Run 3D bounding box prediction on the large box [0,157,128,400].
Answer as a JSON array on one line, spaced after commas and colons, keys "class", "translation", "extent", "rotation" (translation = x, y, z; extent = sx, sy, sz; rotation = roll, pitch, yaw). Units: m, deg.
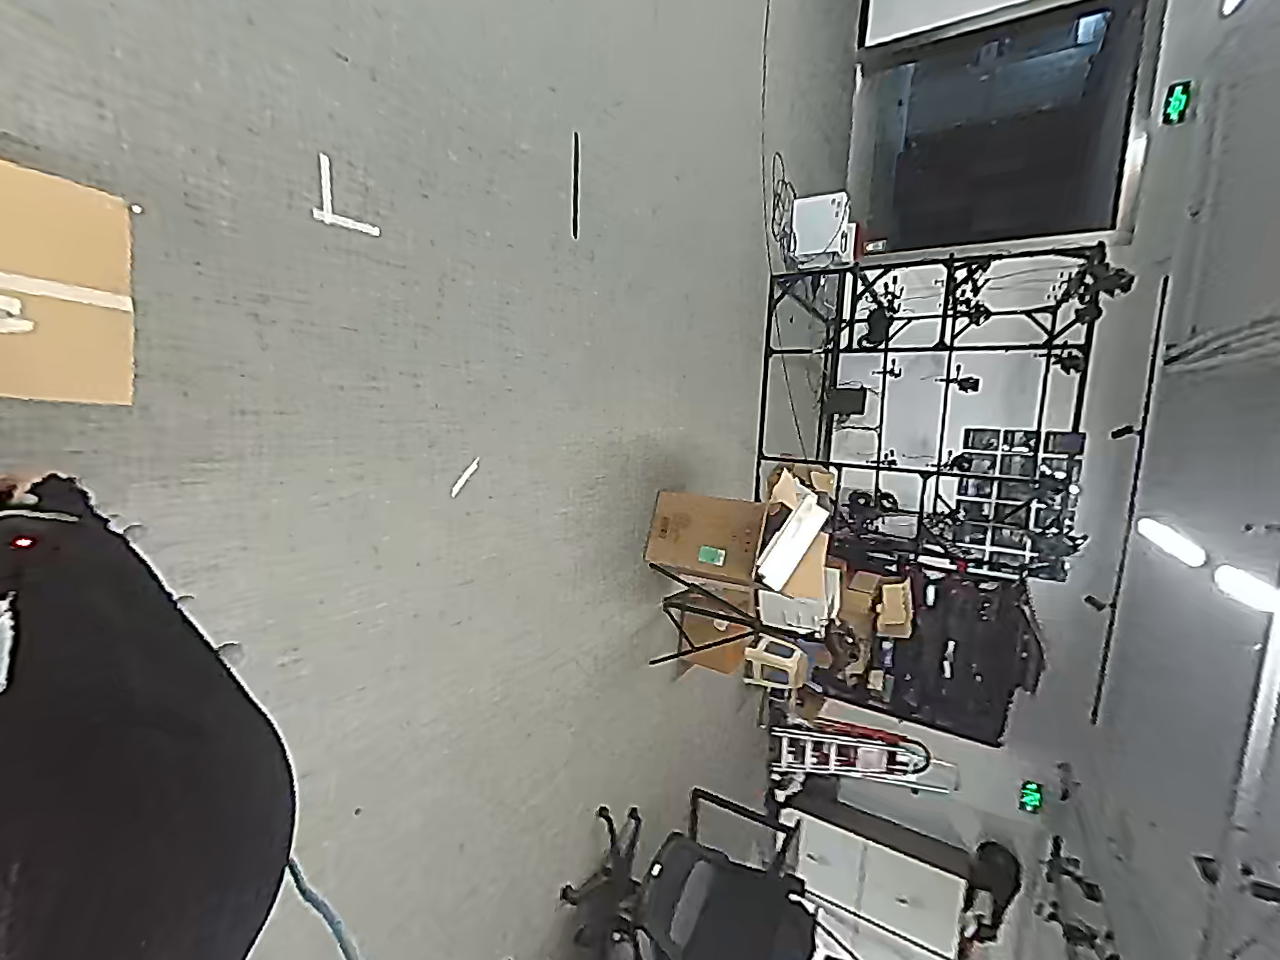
[{"class": "large box", "translation": [-1.014, -0.279, 0.725], "extent": [0.408, 0.320, 0.320], "rotation": [-4, 99, -60]}]
